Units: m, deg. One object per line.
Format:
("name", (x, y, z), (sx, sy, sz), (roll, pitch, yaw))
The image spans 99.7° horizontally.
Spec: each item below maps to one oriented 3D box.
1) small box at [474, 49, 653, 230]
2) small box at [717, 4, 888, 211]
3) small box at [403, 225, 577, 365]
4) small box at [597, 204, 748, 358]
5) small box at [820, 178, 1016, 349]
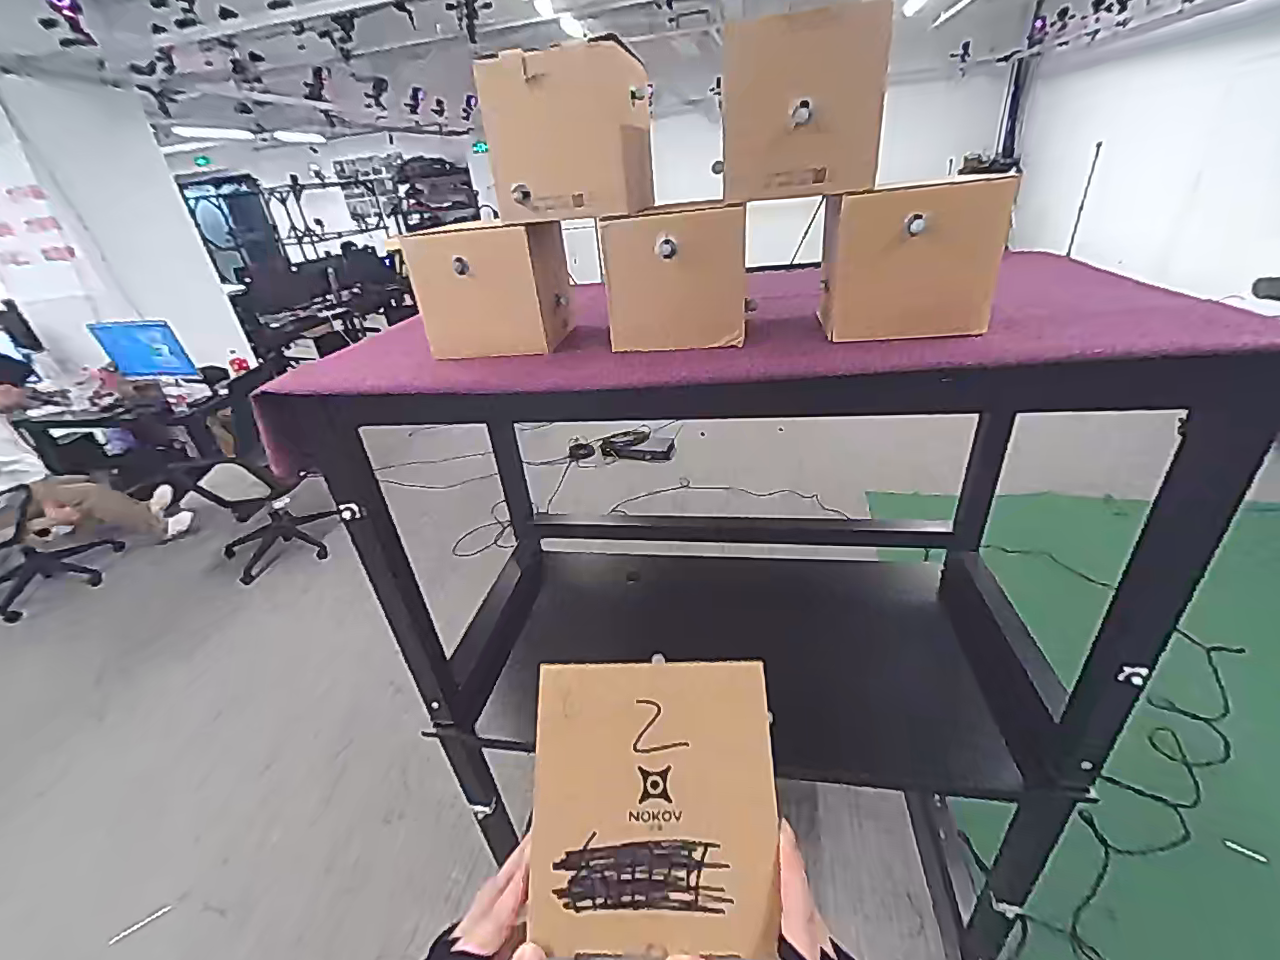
("small box", (-0.081, -0.419, 0.691), (0.168, 0.176, 0.179), (1, 29, 13))
("small box", (0.181, -0.417, 0.635), (0.168, 0.176, 0.179), (0, 30, 12))
("small box", (-0.206, -0.274, 0.795), (0.179, 0.176, 0.168), (-1, 30, 10))
("small box", (0.055, -0.269, 0.733), (0.179, 0.176, 0.168), (0, 30, 12))
("small box", (0.328, -0.271, 0.679), (0.179, 0.176, 0.168), (-1, 29, 13))
